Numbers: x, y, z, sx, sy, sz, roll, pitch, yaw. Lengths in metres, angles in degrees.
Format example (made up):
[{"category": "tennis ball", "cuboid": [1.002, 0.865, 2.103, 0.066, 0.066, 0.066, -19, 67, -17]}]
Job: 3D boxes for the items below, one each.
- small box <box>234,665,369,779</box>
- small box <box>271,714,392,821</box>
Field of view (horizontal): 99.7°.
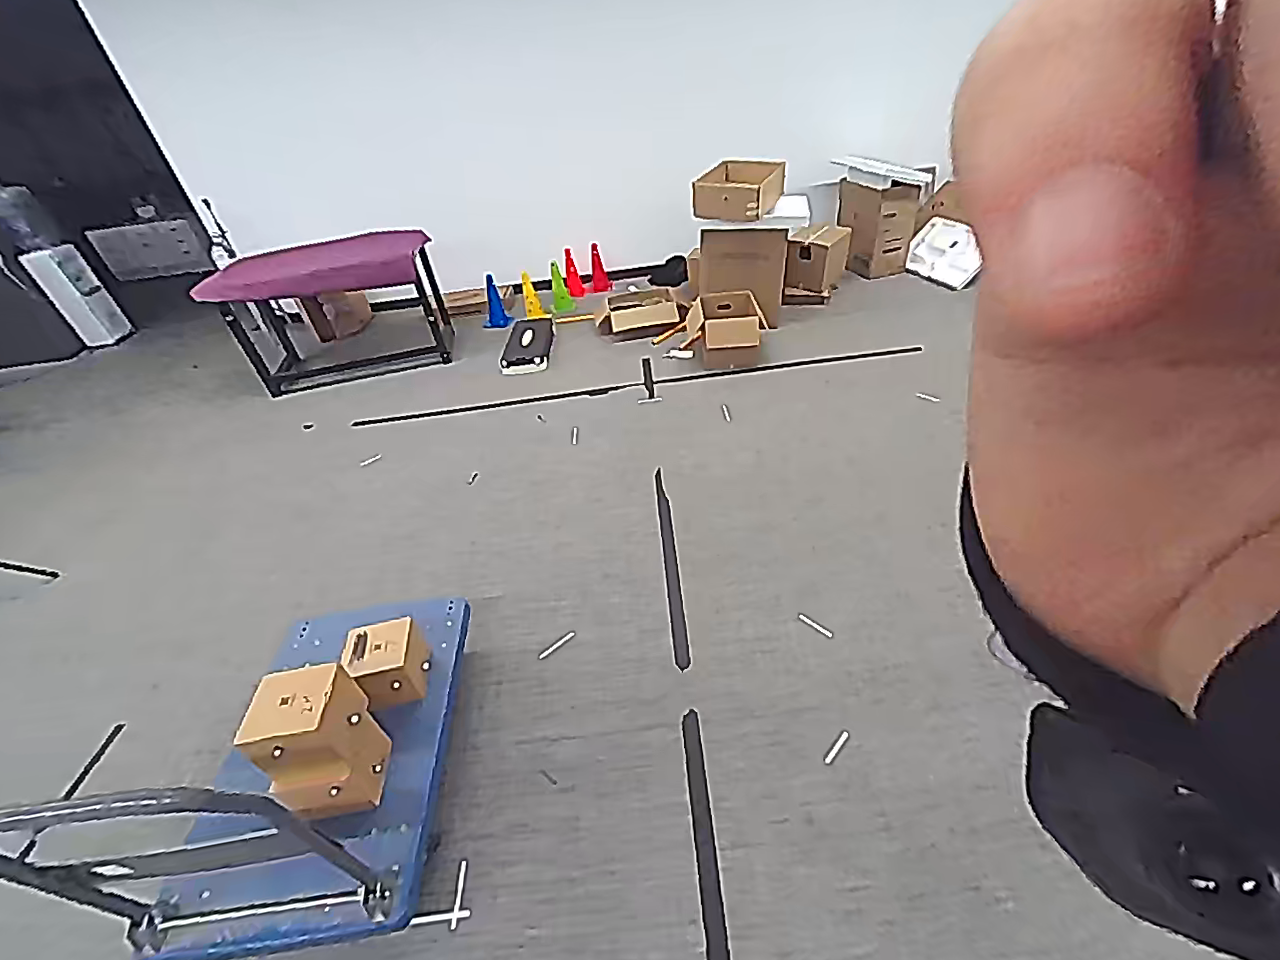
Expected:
[{"category": "small box", "cuboid": [-0.754, 0.551, 1.227, 0.179, 0.176, 0.168, -10, 38, -3]}, {"category": "small box", "cuboid": [-0.733, 0.695, 1.307, 0.179, 0.176, 0.168, -10, 38, -3]}]
